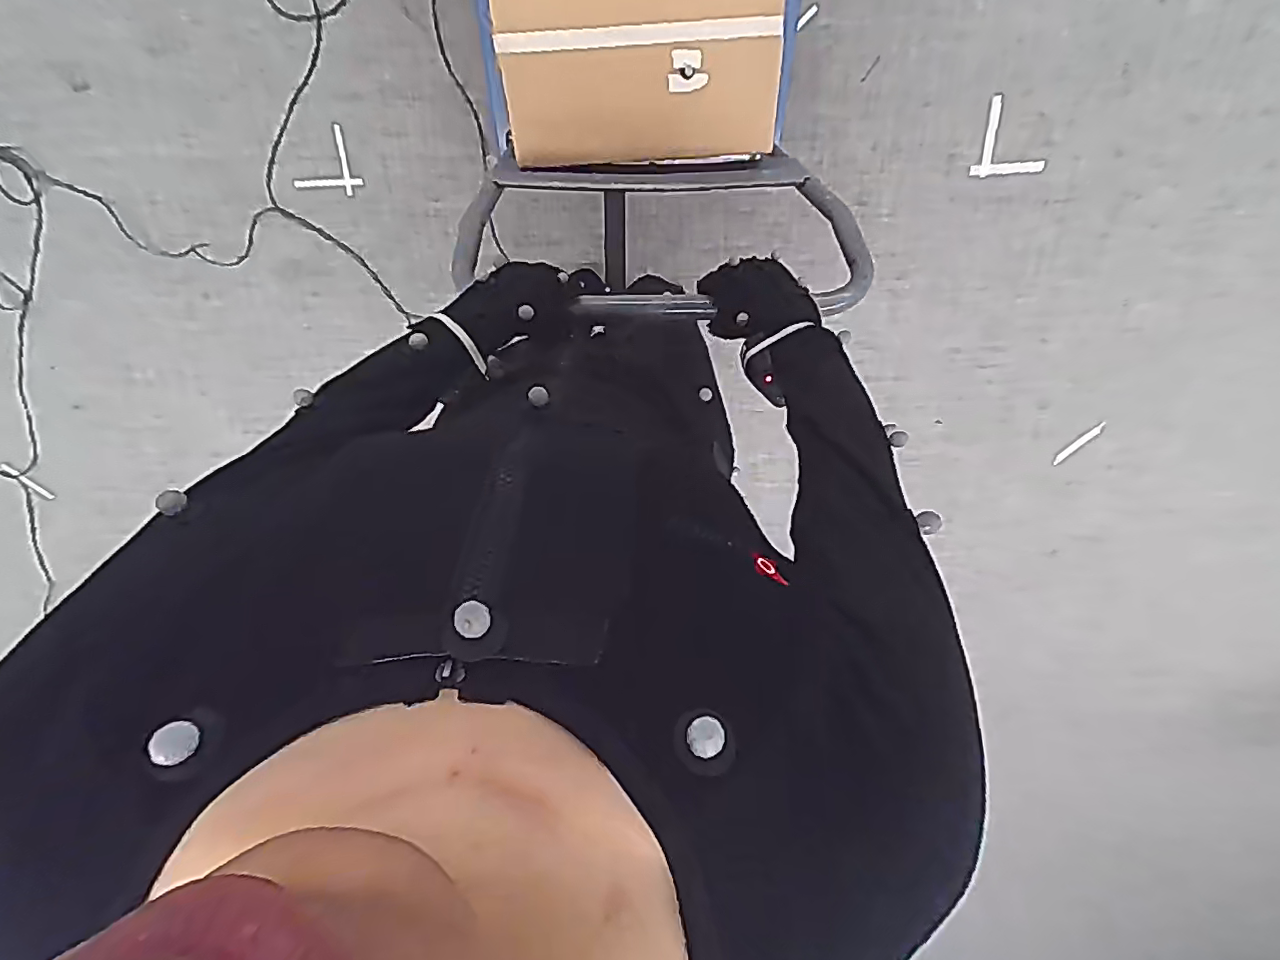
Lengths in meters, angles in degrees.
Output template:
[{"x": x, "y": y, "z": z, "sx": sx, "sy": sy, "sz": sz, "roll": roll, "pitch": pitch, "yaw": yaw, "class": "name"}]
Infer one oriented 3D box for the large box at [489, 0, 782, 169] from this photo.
[{"x": -0.012, "y": -0.715, "z": 0.865, "sx": 0.408, "sy": 0.320, "sz": 0.320, "roll": -4, "pitch": 130, "yaw": -1, "class": "large box"}]
